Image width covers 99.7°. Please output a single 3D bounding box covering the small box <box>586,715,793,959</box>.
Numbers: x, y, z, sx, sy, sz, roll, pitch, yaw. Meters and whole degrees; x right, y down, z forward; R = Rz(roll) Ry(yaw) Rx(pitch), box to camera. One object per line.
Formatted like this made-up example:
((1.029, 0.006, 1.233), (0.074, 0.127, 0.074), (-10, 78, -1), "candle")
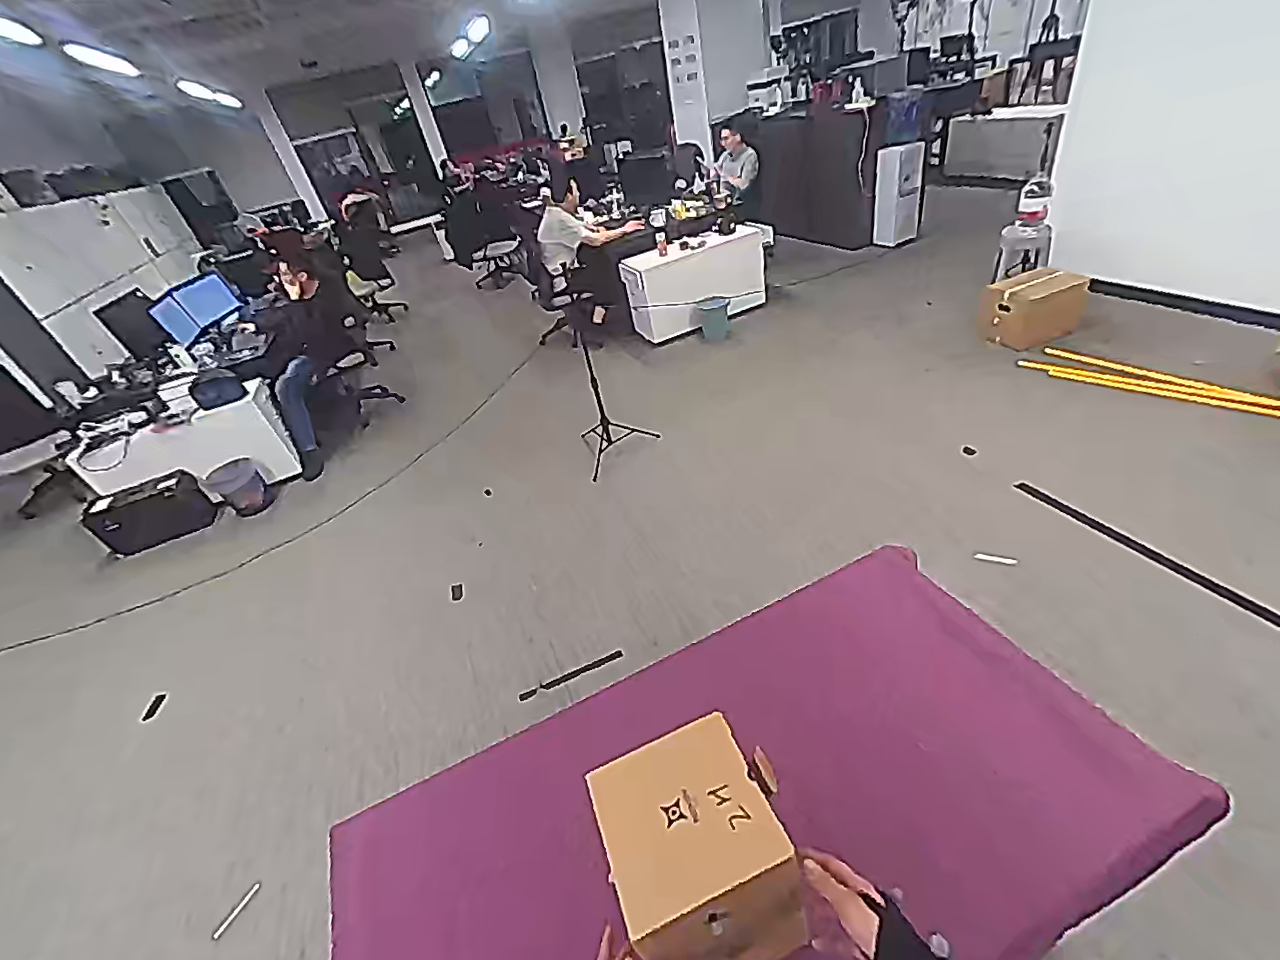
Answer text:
((0.058, 0.415, 0.616), (0.179, 0.176, 0.168), (-21, 36, -9), "small box")
